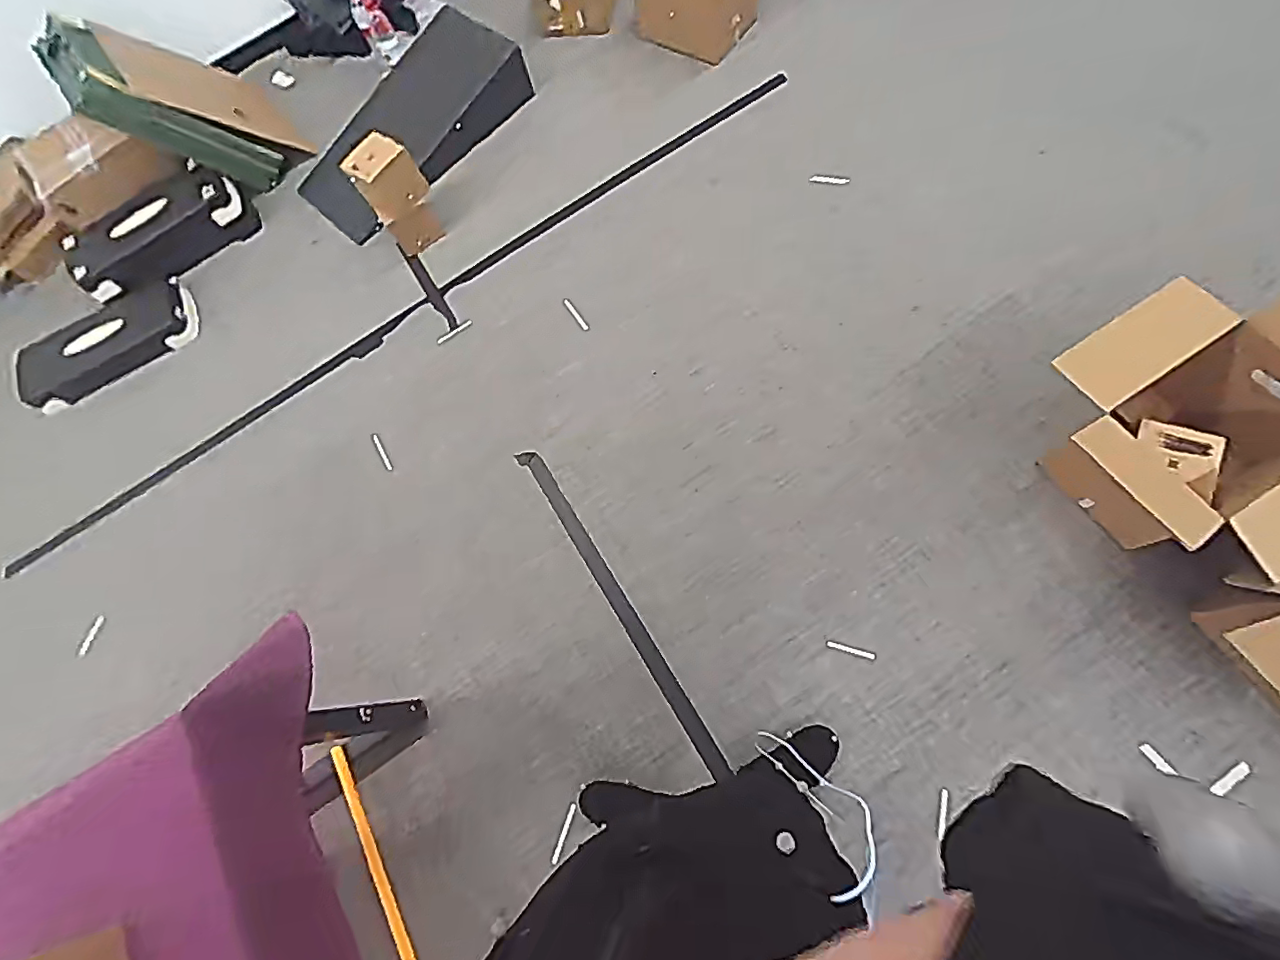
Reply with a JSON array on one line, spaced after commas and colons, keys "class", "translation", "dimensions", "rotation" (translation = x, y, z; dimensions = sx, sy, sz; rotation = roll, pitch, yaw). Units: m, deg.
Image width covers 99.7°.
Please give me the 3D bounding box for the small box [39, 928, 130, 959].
[{"class": "small box", "translation": [-0.752, 0.697, 0.641], "dimensions": [0.168, 0.176, 0.179], "rotation": [-34, 68, -3]}]
